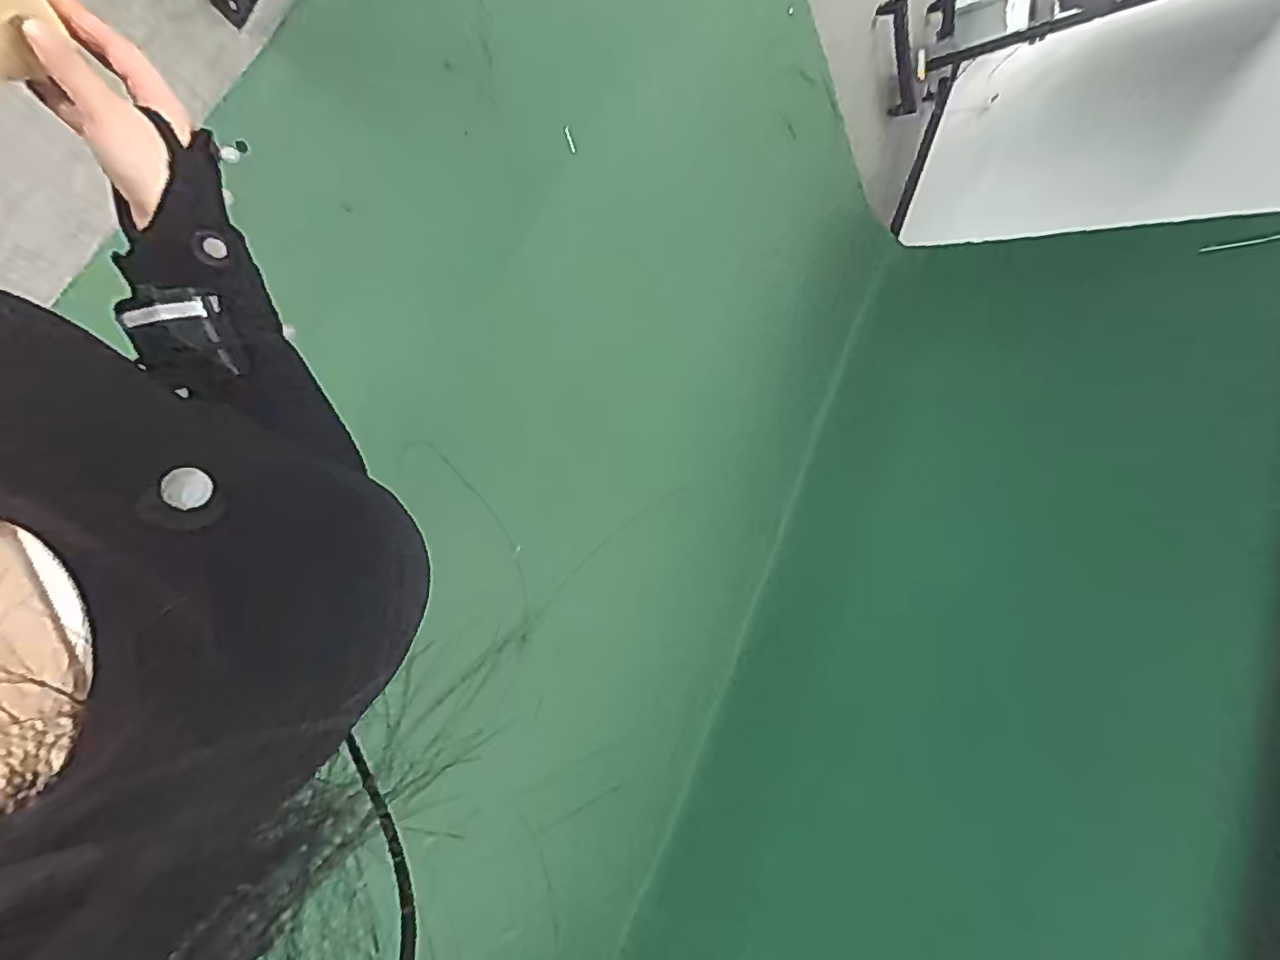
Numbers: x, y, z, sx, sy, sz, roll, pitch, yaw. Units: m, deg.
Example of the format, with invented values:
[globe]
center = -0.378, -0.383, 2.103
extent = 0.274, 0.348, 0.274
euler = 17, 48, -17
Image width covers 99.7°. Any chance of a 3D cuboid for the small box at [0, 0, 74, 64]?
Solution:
[small box]
center = -0.464, -0.328, 0.269
extent = 0.179, 0.176, 0.168
euler = -32, 156, -22
